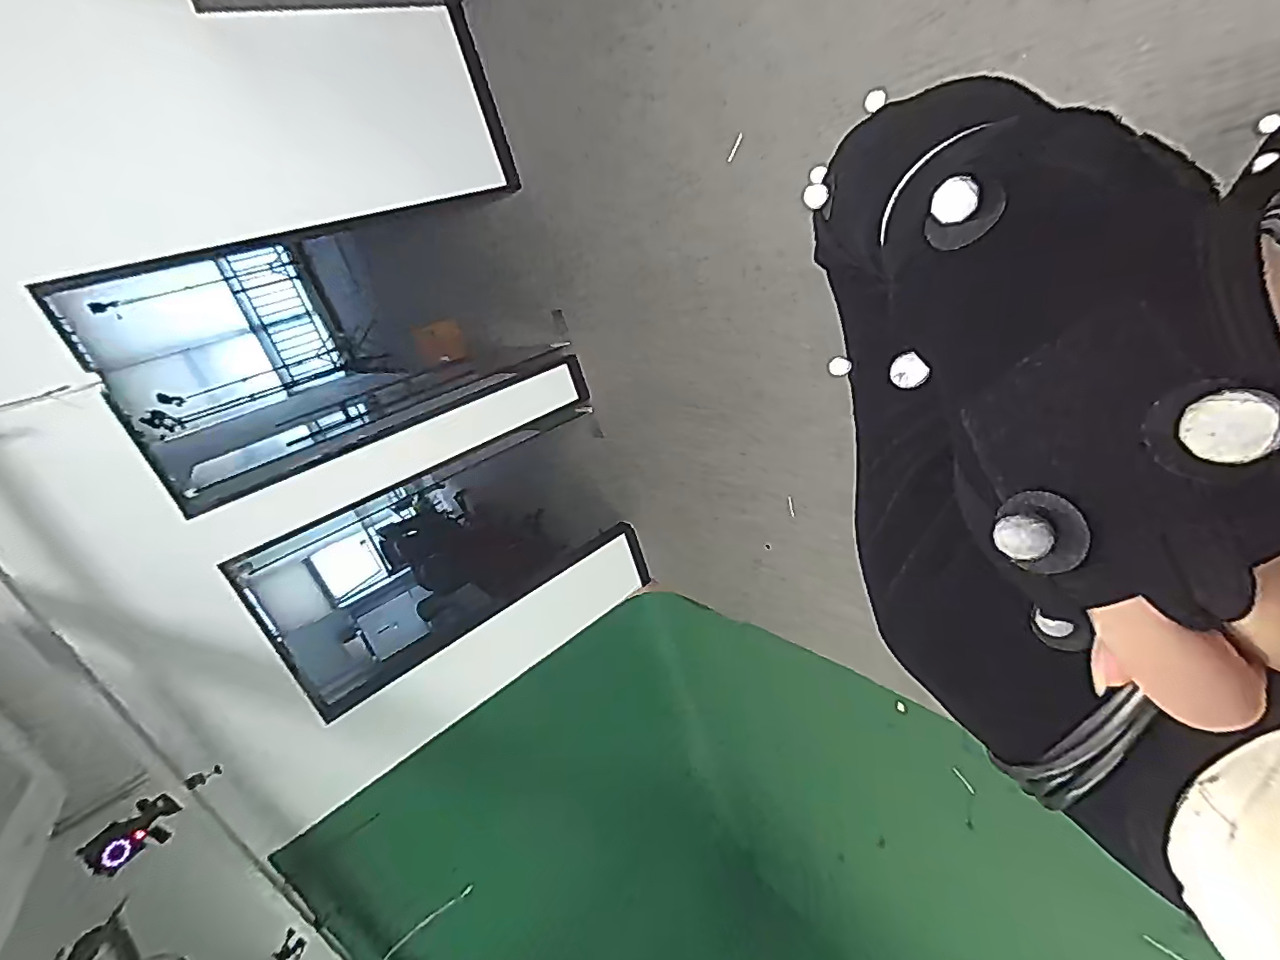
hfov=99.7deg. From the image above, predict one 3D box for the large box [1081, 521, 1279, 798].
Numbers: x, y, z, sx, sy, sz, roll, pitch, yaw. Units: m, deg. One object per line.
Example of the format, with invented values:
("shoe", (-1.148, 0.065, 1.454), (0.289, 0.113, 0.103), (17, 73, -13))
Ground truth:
("large box", (1.175, 0.344, 1.134), (0.320, 0.320, 0.408), (10, 124, 54))
